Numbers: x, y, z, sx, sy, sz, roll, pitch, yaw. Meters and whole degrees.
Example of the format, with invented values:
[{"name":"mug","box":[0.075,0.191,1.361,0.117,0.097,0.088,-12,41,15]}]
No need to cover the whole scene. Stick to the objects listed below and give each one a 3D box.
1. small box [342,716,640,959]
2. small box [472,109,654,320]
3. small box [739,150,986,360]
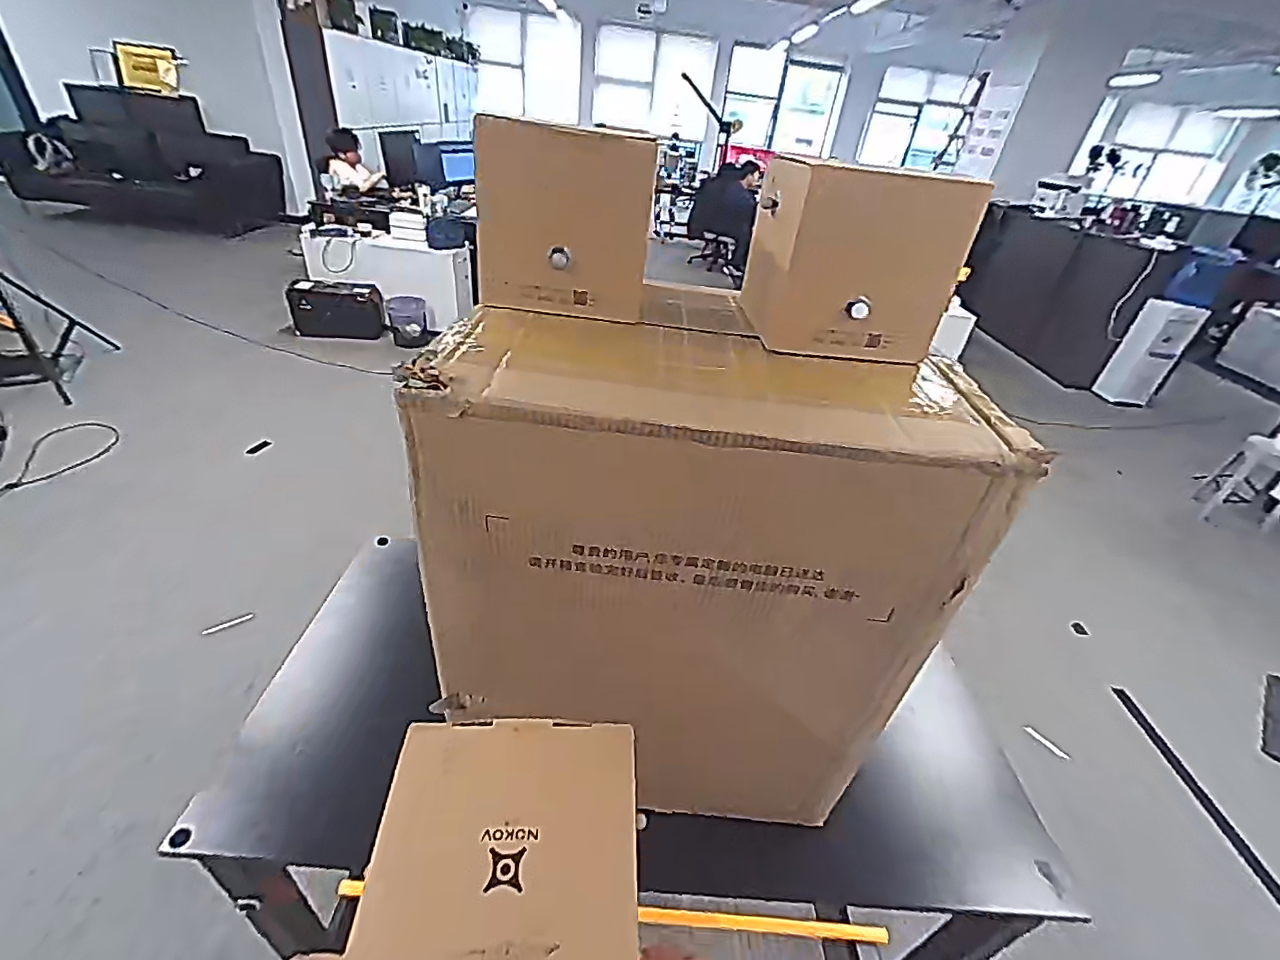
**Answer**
[{"name":"small box","box":[-0.089,0.293,0.388,0.168,0.176,0.179,3,42,-4]},{"name":"small box","box":[-0.079,-0.289,0.591,0.168,0.176,0.179,5,33,-4]},{"name":"small box","box":[0.211,-0.243,0.577,0.168,0.176,0.179,4,33,-4]}]
